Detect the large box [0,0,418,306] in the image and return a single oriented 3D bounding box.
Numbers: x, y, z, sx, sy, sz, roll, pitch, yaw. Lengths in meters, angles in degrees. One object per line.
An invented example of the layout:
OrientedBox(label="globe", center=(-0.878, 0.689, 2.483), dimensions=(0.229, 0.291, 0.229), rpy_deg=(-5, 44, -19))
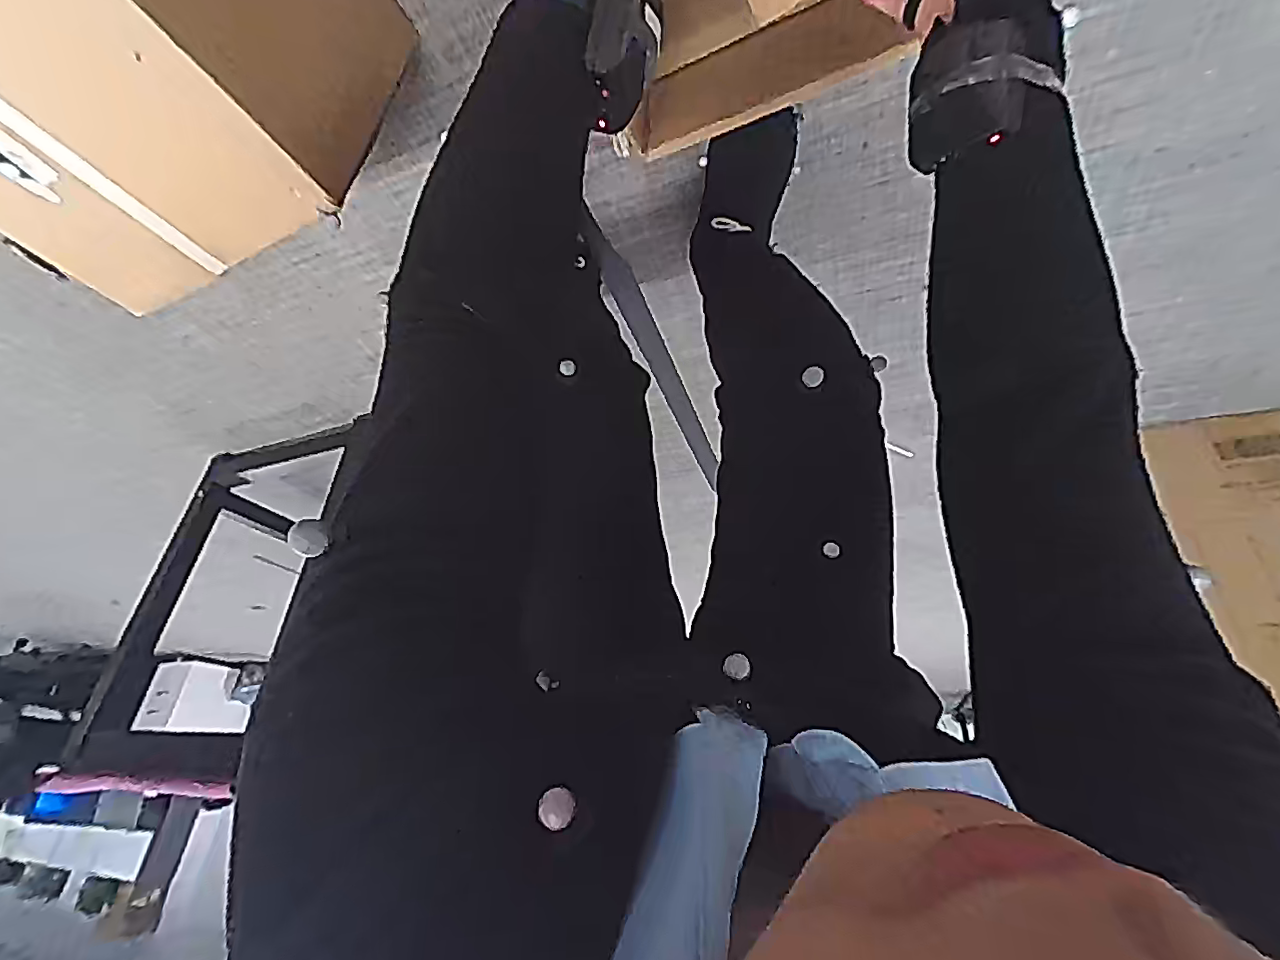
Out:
OrientedBox(label="large box", center=(-0.464, -0.430, 0.429), dimensions=(0.320, 0.320, 0.408), rpy_deg=(-11, 149, 23))
